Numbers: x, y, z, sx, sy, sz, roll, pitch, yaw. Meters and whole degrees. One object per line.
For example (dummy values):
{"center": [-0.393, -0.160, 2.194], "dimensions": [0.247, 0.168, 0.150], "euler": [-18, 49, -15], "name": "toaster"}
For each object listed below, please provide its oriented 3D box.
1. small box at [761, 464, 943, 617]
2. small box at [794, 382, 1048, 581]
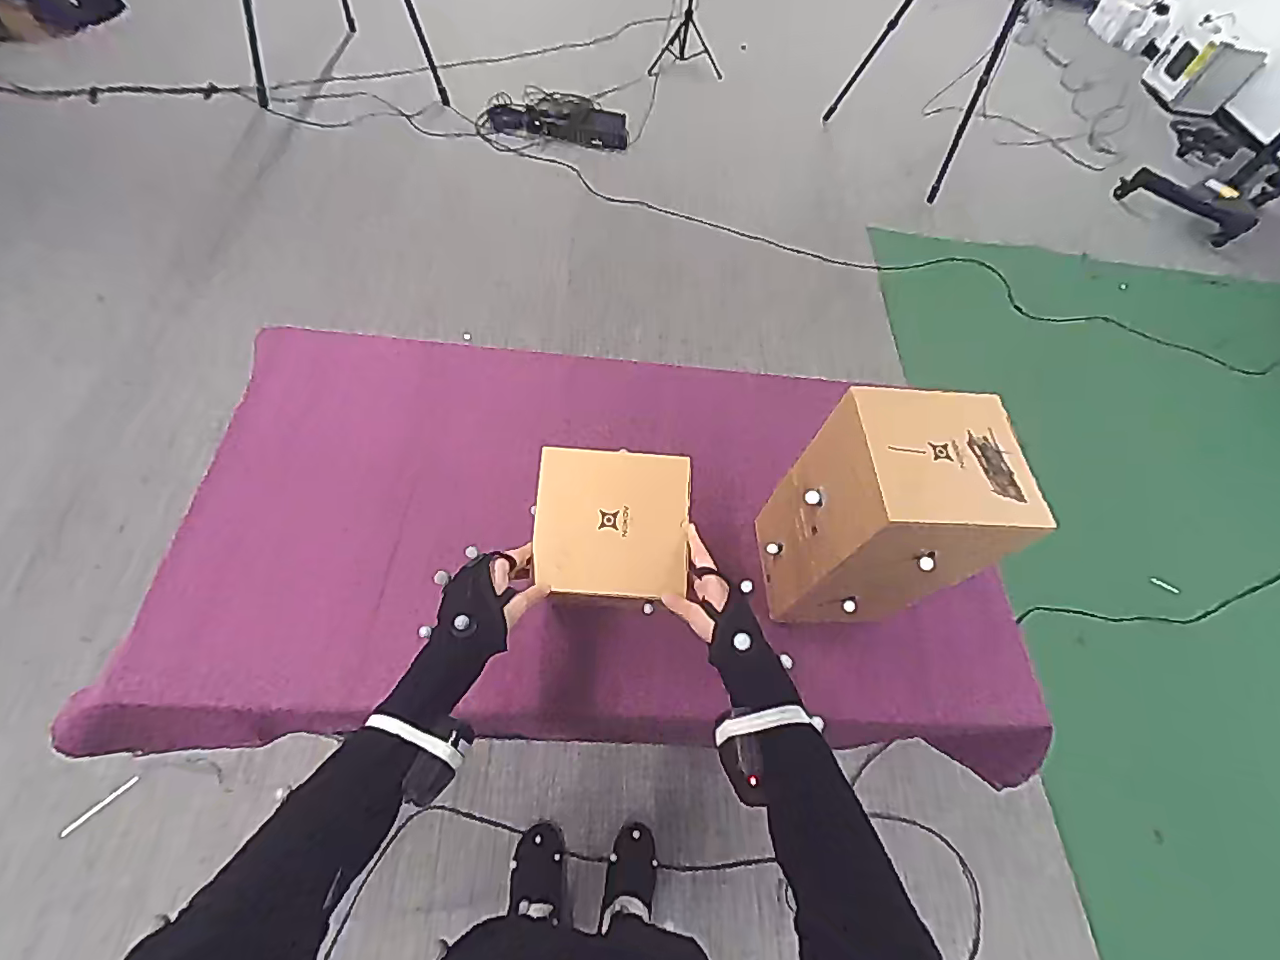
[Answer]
{"center": [0.280, 0.091, 0.764], "dimensions": [0.179, 0.176, 0.168], "euler": [1, 60, -6], "name": "small box"}
{"center": [0.300, 0.010, 0.621], "dimensions": [0.179, 0.176, 0.168], "euler": [3, 59, -6], "name": "small box"}
